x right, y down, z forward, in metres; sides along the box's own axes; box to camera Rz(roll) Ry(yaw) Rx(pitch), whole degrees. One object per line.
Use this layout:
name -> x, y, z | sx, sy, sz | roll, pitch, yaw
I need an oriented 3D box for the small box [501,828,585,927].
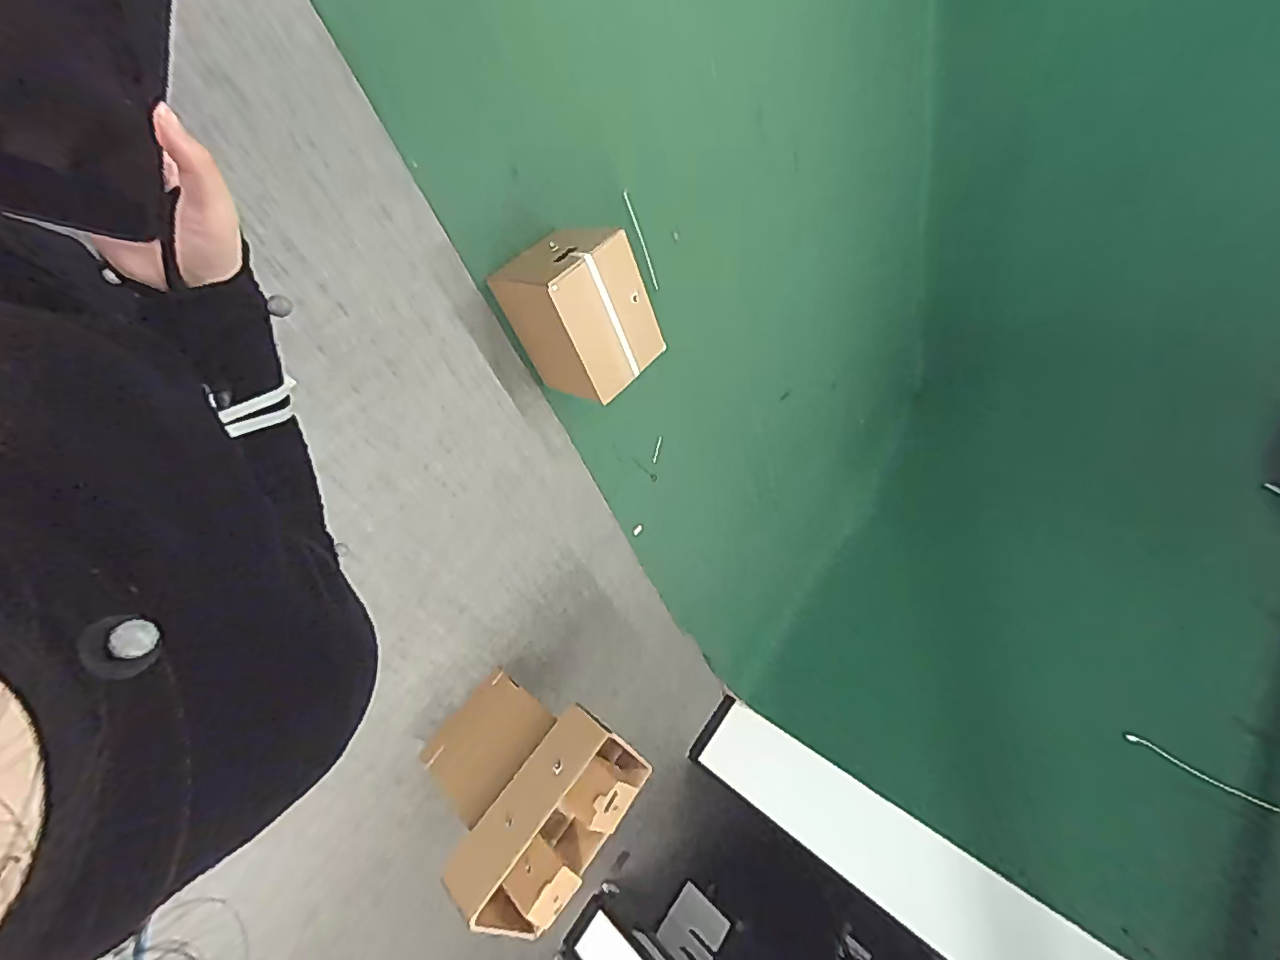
small box -> -0.312, 1.254, 1.716 | 0.168, 0.176, 0.179 | -42, 133, -26
